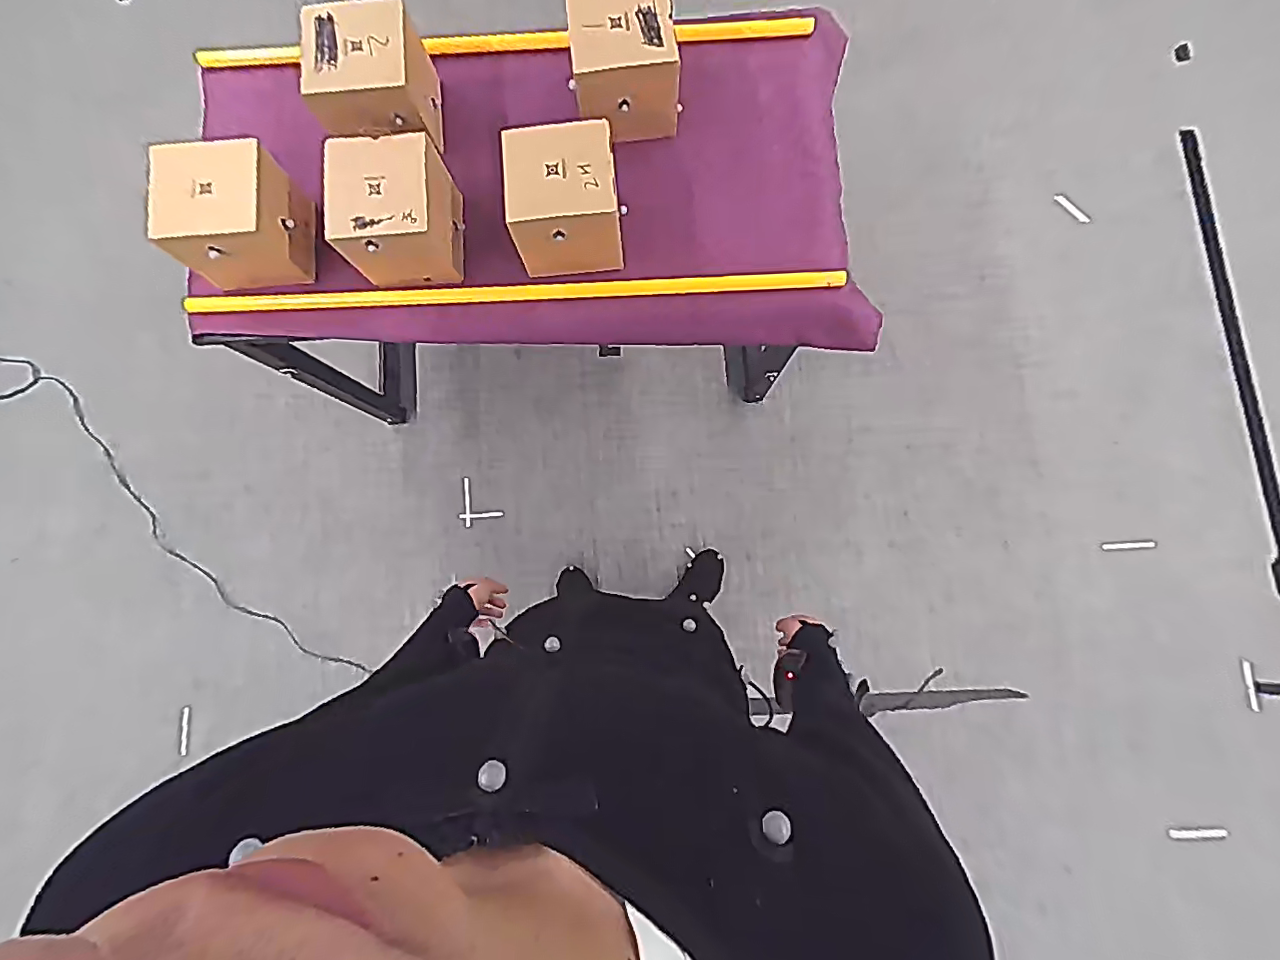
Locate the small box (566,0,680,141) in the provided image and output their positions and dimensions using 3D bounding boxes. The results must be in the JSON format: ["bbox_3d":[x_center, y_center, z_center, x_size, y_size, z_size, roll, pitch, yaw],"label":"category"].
[{"bbox_3d":[-0.027,-0.732,0.952,0.179,0.176,0.168,-6,83,2],"label":"small box"}]

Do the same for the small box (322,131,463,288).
[{"bbox_3d":[-0.413,-0.455,0.930,0.168,0.176,0.179,-4,82,2],"label":"small box"}]

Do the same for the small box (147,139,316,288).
[{"bbox_3d":[-0.693,-0.452,0.938,0.179,0.176,0.168,-5,82,0],"label":"small box"}]

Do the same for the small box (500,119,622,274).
[{"bbox_3d":[-0.127,-0.471,0.921,0.179,0.176,0.168,-5,81,1],"label":"small box"}]
